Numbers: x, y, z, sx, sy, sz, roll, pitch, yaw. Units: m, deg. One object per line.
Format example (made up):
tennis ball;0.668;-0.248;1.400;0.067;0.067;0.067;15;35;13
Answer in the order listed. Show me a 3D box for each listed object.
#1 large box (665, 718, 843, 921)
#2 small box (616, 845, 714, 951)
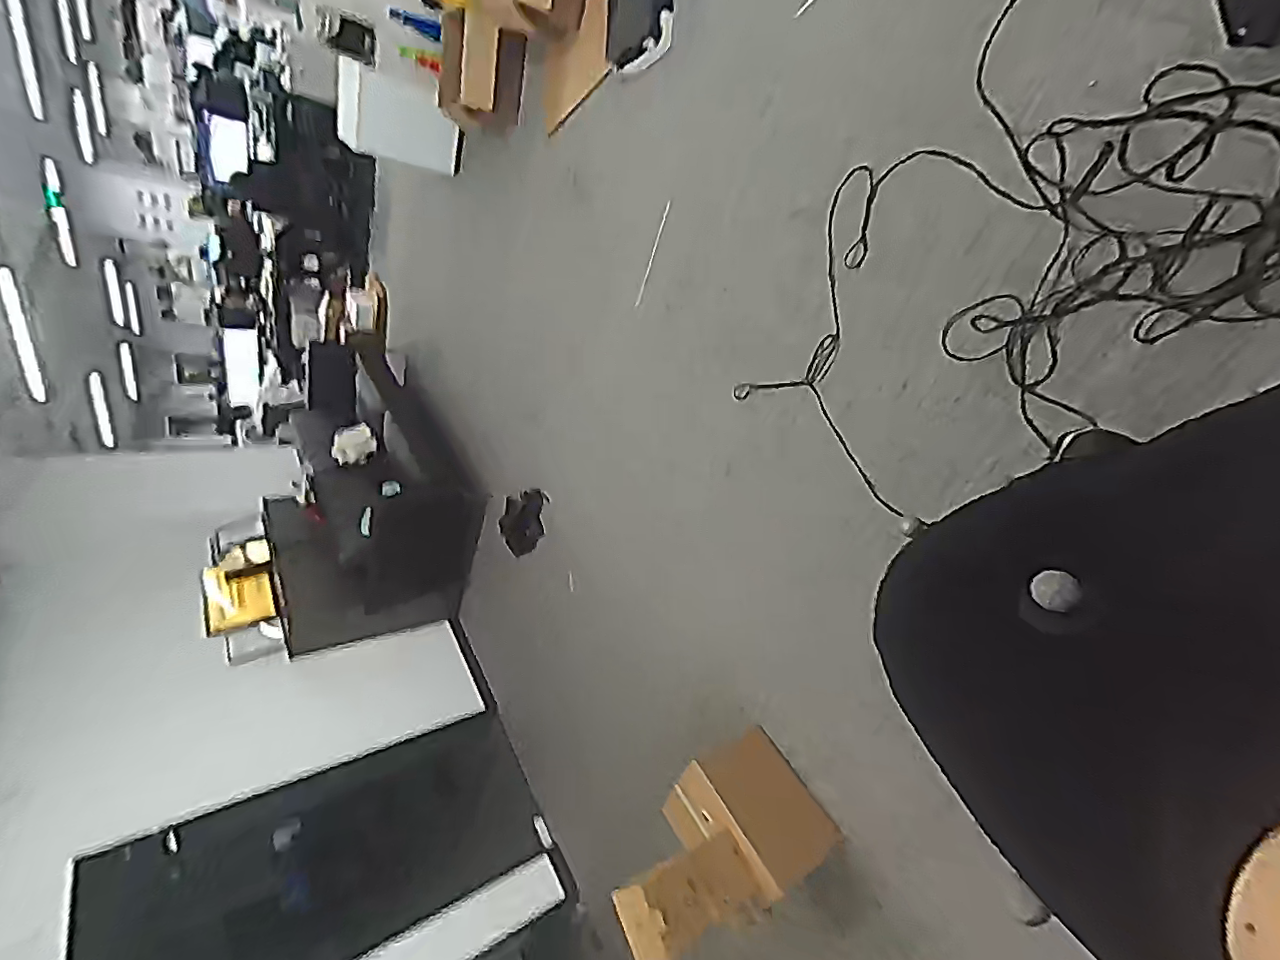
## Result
large box;0.354;1.066;1.737;0.408;0.320;0.320;49;130;37
small box;0.067;1.115;1.448;0.179;0.176;0.168;-54;54;40
